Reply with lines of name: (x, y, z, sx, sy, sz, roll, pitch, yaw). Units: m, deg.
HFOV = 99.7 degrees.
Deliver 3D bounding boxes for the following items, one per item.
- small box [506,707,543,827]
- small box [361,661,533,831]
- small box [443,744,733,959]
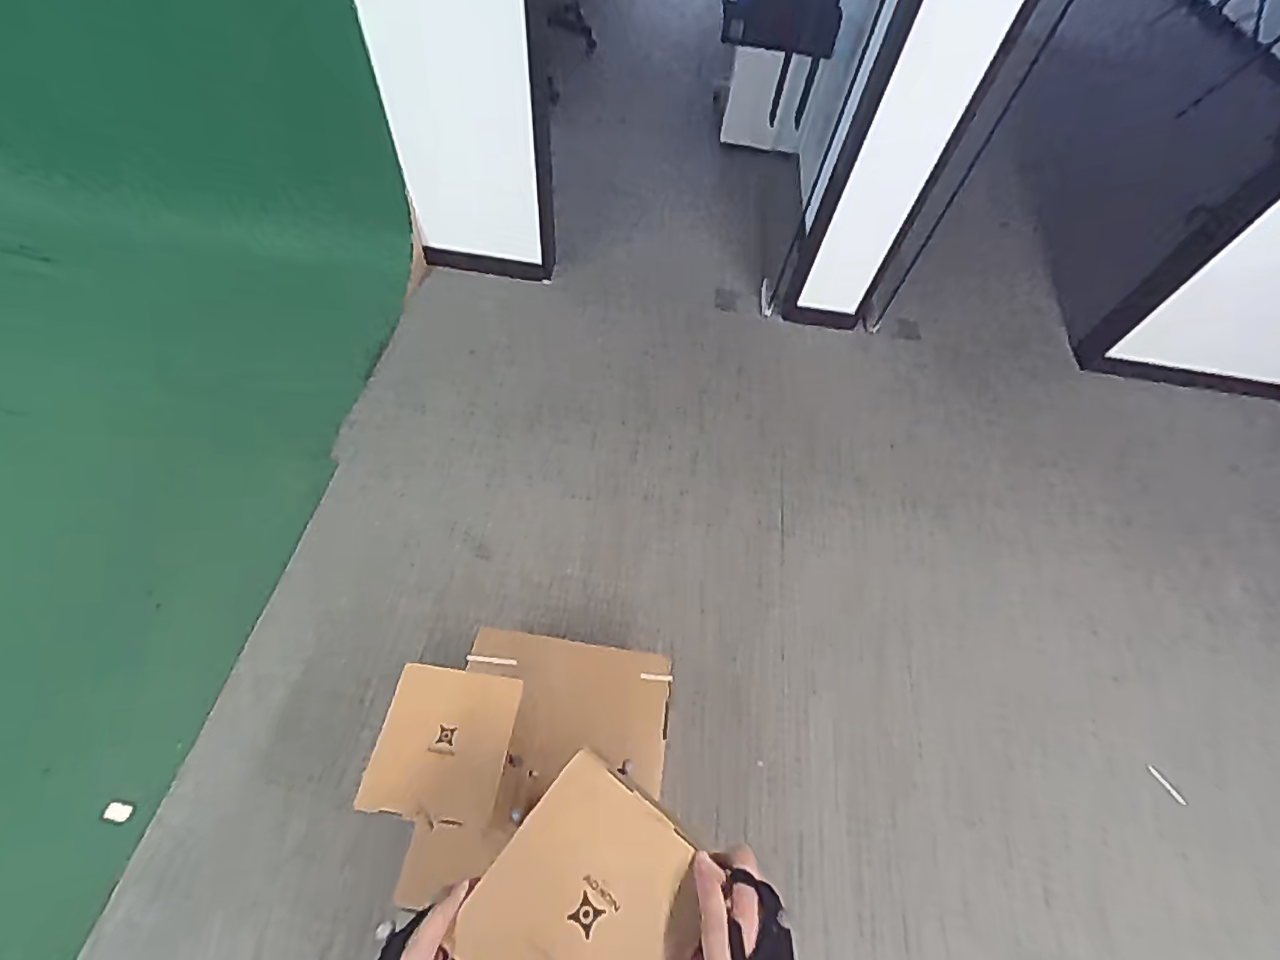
small box: (-0.262, 0.466, 0.894, 0.179, 0.176, 0.168, 8, 55, 0)
small box: (-0.251, 0.377, 0.758, 0.168, 0.176, 0.179, 10, 56, 1)
small box: (-0.043, 0.372, 0.500, 0.168, 0.176, 0.179, 37, 69, 15)
